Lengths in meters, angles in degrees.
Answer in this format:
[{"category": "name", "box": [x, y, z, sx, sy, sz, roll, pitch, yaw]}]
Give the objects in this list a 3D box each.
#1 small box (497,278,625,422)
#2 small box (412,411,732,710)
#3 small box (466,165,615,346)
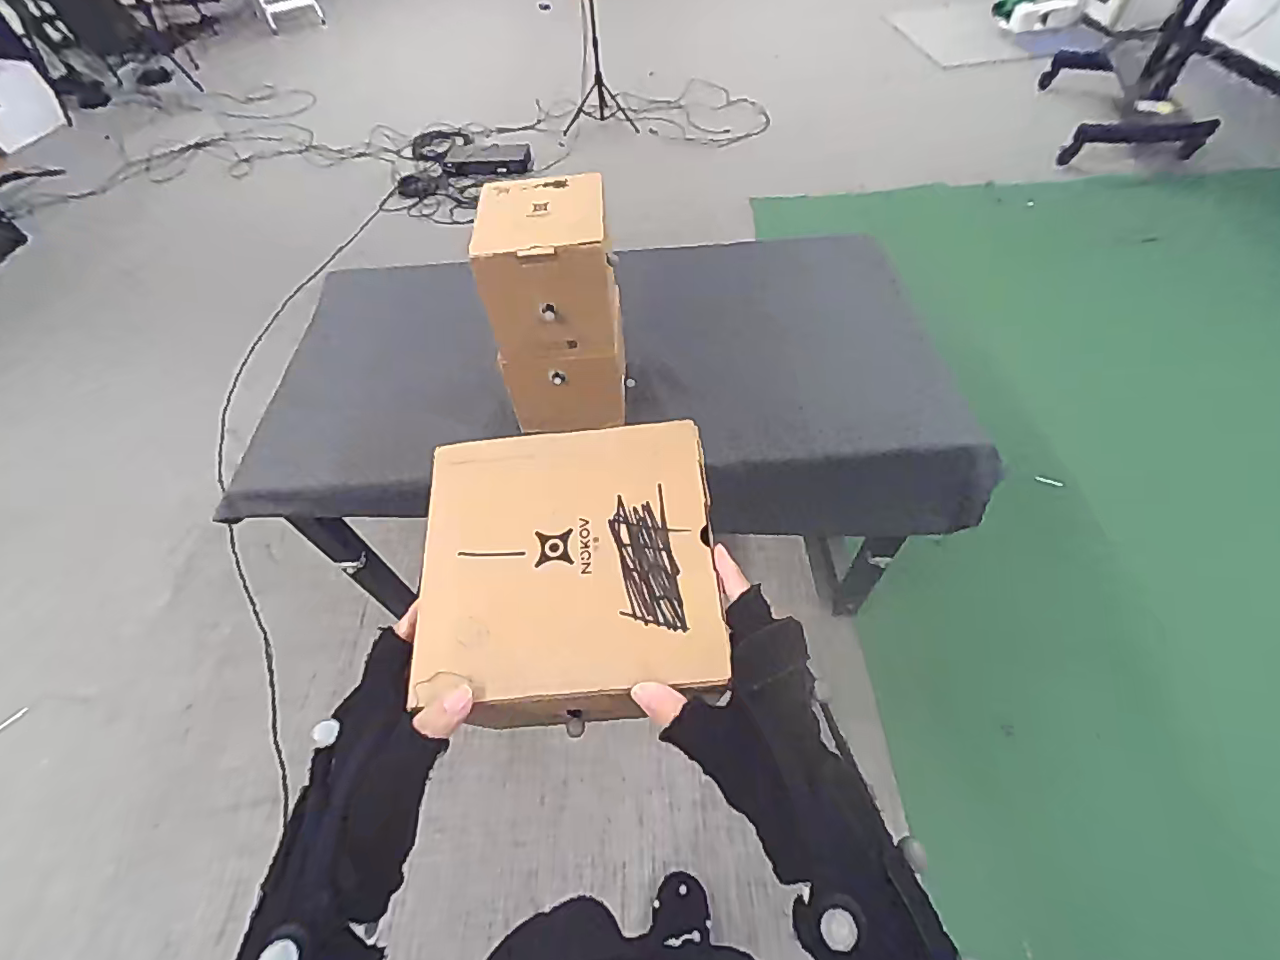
[{"category": "small box", "box": [-0.117, -0.205, 0.882, 0.179, 0.176, 0.168, -2, 56, 1]}, {"category": "small box", "box": [-0.040, 0.069, 0.396, 0.179, 0.176, 0.168, -6, 63, 0]}, {"category": "small box", "box": [-0.125, -0.301, 0.750, 0.168, 0.176, 0.179, -5, 56, 1]}]
